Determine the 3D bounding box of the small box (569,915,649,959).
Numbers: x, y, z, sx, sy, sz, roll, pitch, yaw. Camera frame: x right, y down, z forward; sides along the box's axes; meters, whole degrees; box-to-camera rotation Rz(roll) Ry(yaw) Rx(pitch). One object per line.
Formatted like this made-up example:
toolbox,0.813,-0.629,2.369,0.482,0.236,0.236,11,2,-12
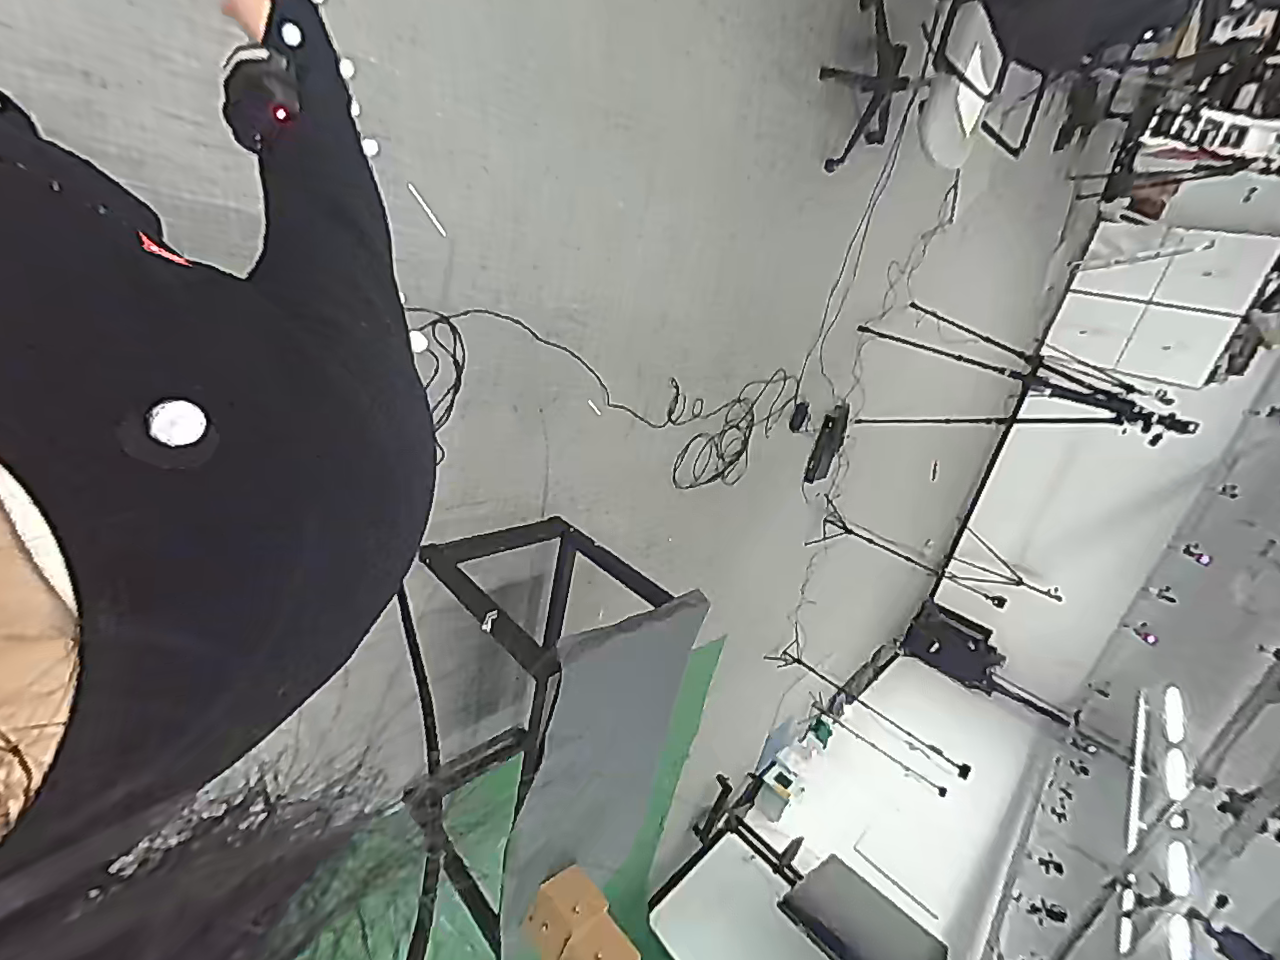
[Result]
small box,-0.112,1.463,1.605,0.179,0.176,0.168,11,105,-53

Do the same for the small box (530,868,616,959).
small box,-0.216,1.384,1.704,0.179,0.176,0.168,19,97,-54
